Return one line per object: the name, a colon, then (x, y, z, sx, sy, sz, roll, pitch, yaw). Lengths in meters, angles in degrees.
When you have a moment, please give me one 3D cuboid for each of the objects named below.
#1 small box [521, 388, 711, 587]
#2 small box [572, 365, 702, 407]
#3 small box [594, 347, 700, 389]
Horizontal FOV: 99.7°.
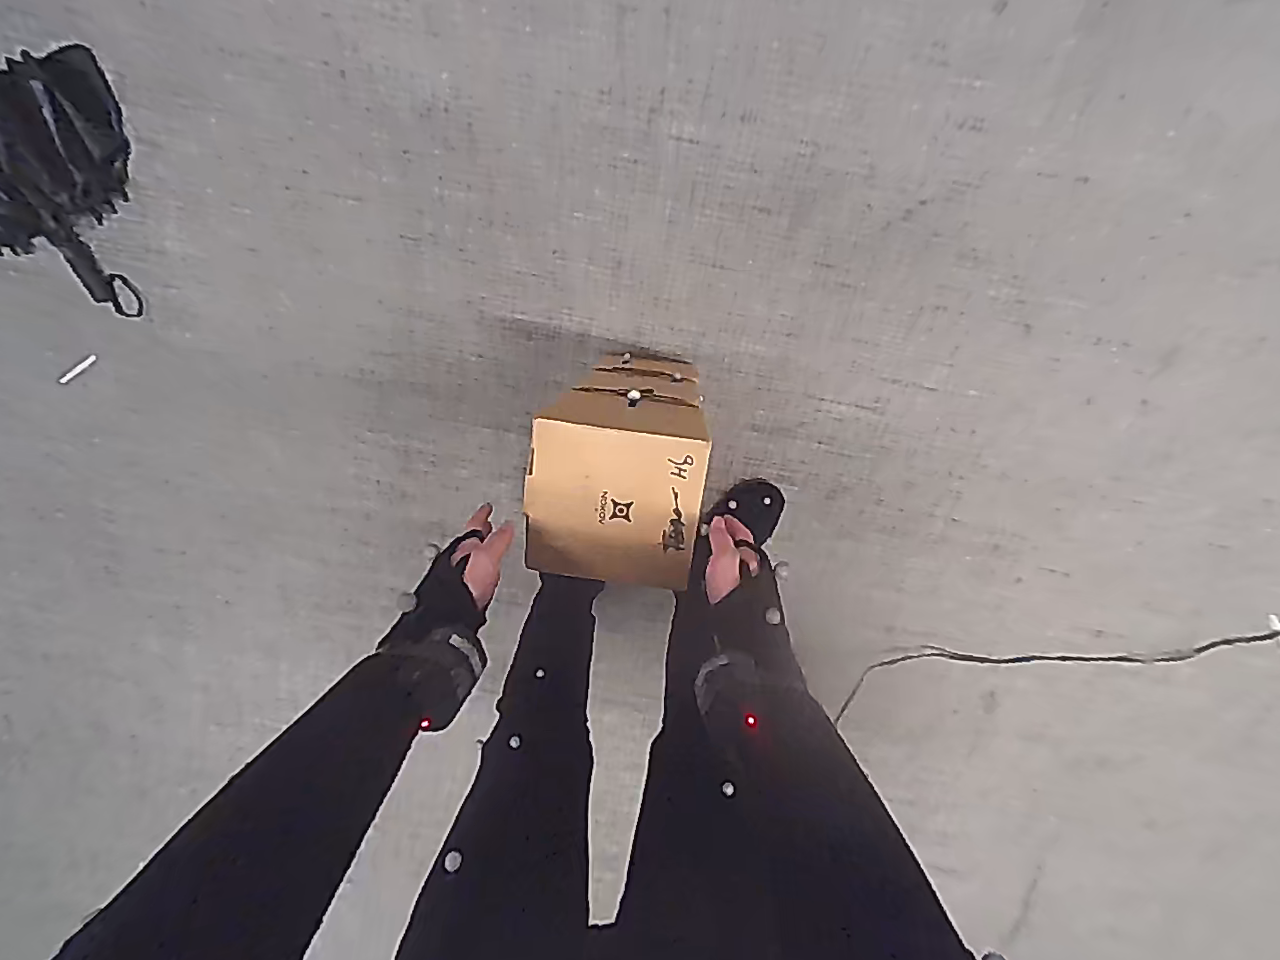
small box: (-0.021, -0.004, 0.616, 0.179, 0.176, 0.168, 9, 110, 2)
small box: (-0.009, -0.060, 0.769, 0.168, 0.176, 0.179, 8, 111, 2)
small box: (0.005, -0.123, 0.921, 0.168, 0.176, 0.179, 8, 112, 2)
